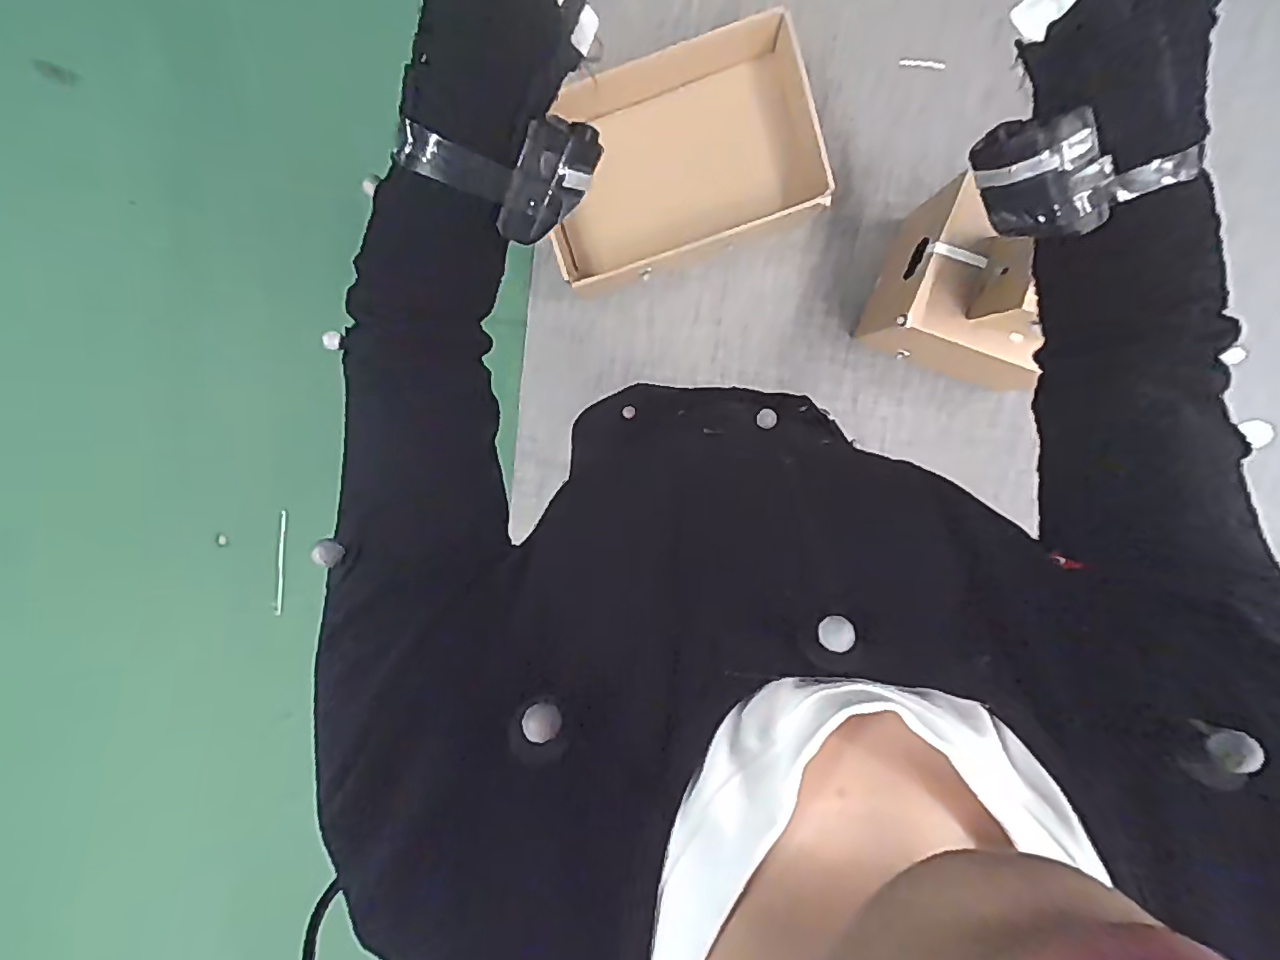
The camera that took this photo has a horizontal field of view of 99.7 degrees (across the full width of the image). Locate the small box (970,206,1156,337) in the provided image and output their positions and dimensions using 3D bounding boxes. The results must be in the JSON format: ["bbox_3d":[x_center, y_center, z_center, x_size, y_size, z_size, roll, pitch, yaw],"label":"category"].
[{"bbox_3d":[0.737,-0.360,0.967,0.179,0.176,0.168,15,100,2],"label":"small box"}]
